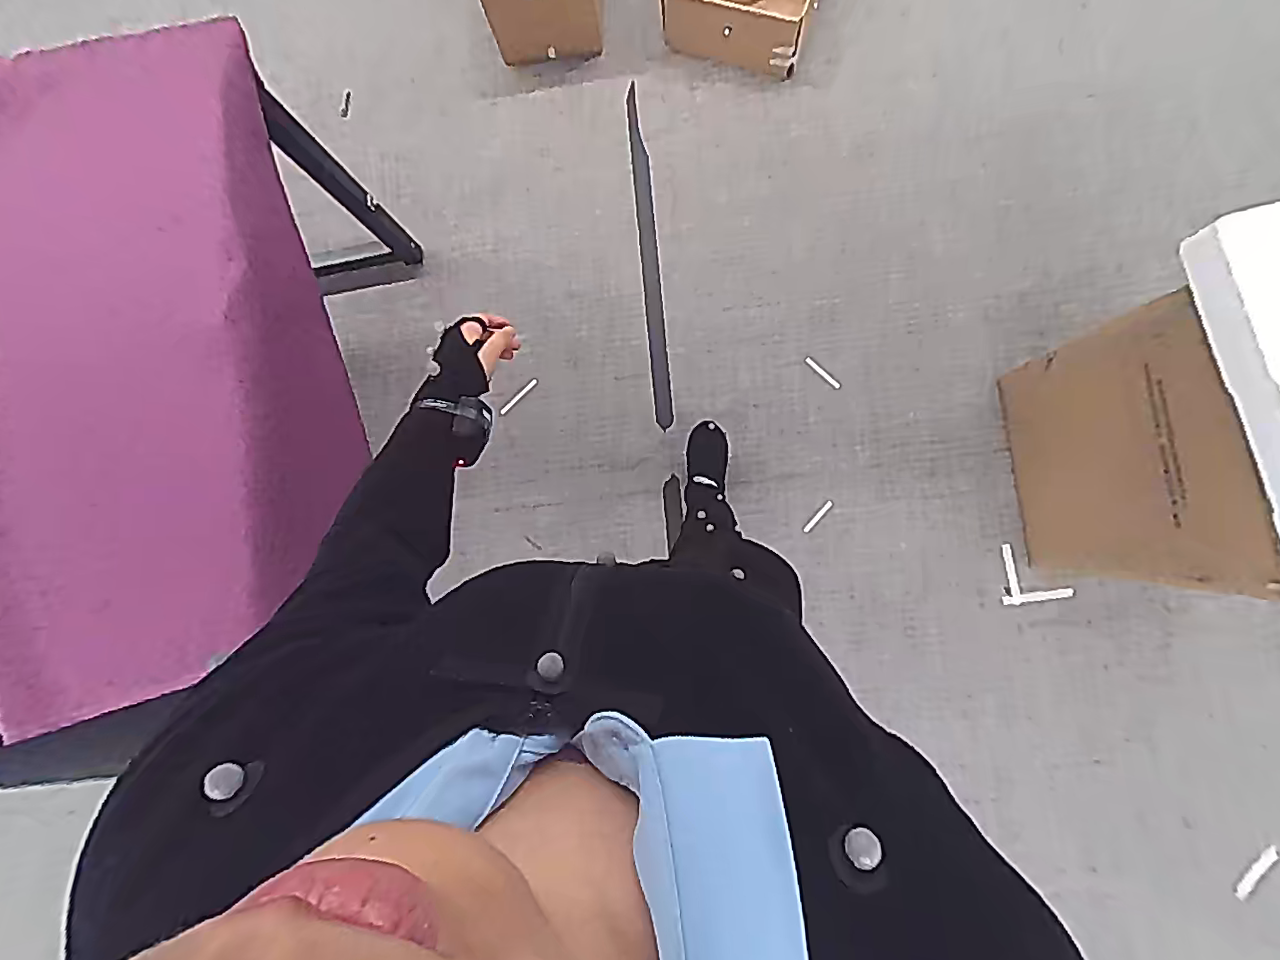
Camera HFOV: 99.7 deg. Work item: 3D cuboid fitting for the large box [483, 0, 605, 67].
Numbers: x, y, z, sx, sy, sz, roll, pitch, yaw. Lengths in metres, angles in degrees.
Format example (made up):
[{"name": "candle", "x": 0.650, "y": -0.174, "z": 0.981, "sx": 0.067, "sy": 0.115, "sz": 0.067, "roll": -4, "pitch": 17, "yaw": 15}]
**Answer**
[{"name": "large box", "x": -0.279, "y": -1.479, "z": 1.510, "sx": 0.320, "sy": 0.320, "sz": 0.408, "roll": -4, "pitch": 86, "yaw": 5}]
